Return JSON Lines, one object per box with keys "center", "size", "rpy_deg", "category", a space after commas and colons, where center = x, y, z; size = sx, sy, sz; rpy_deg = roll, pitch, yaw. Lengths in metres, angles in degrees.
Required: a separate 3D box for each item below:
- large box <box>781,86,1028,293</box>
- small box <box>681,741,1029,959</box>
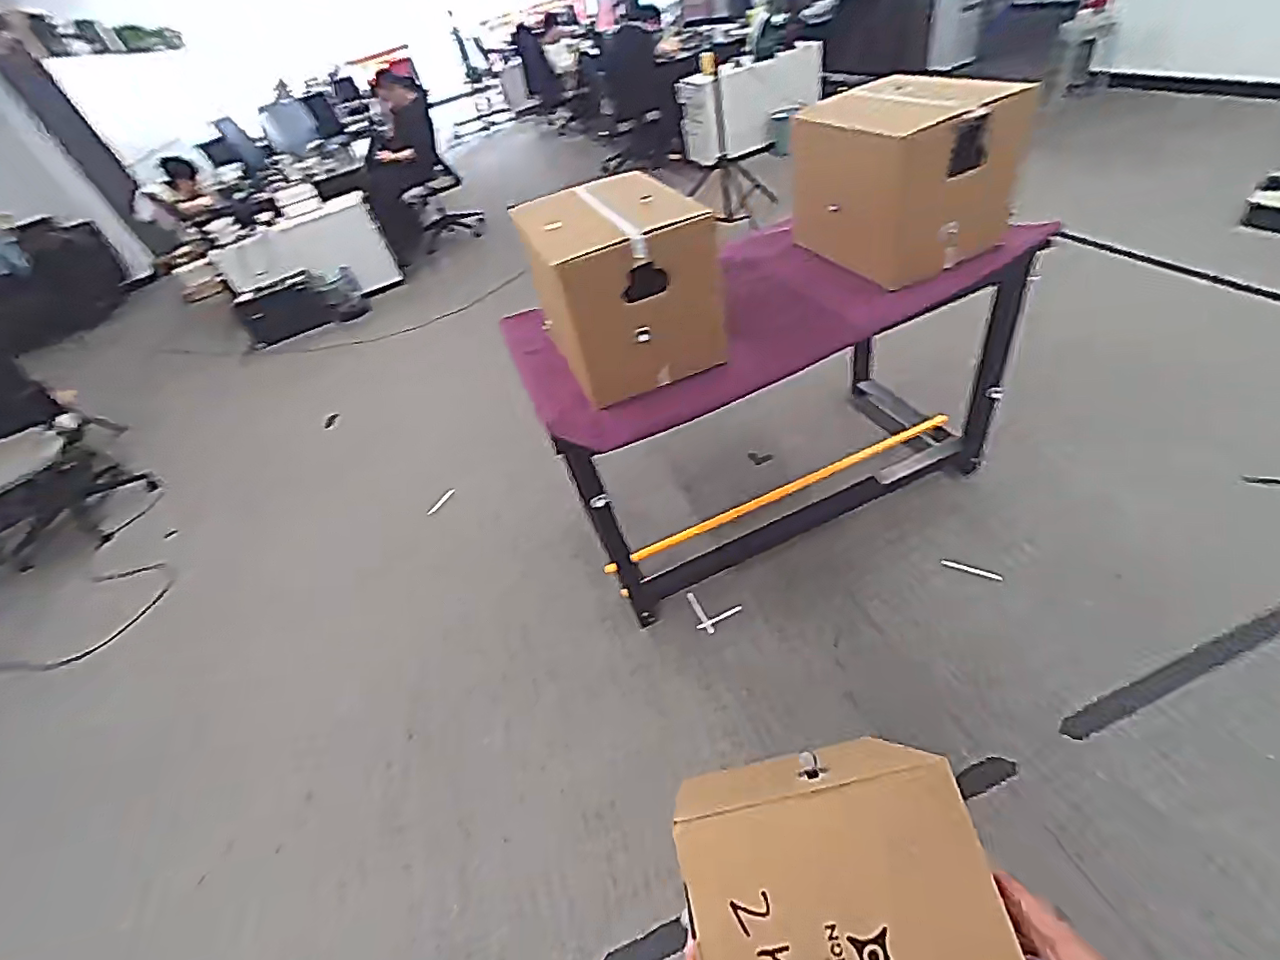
{"center": [0.582, -0.689, 1.267], "size": [0.320, 0.320, 0.408], "rpy_deg": [-24, 42, -7], "category": "large box"}
{"center": [0.132, 0.290, 0.375], "size": [0.179, 0.176, 0.168], "rpy_deg": [-14, 67, 2], "category": "small box"}
